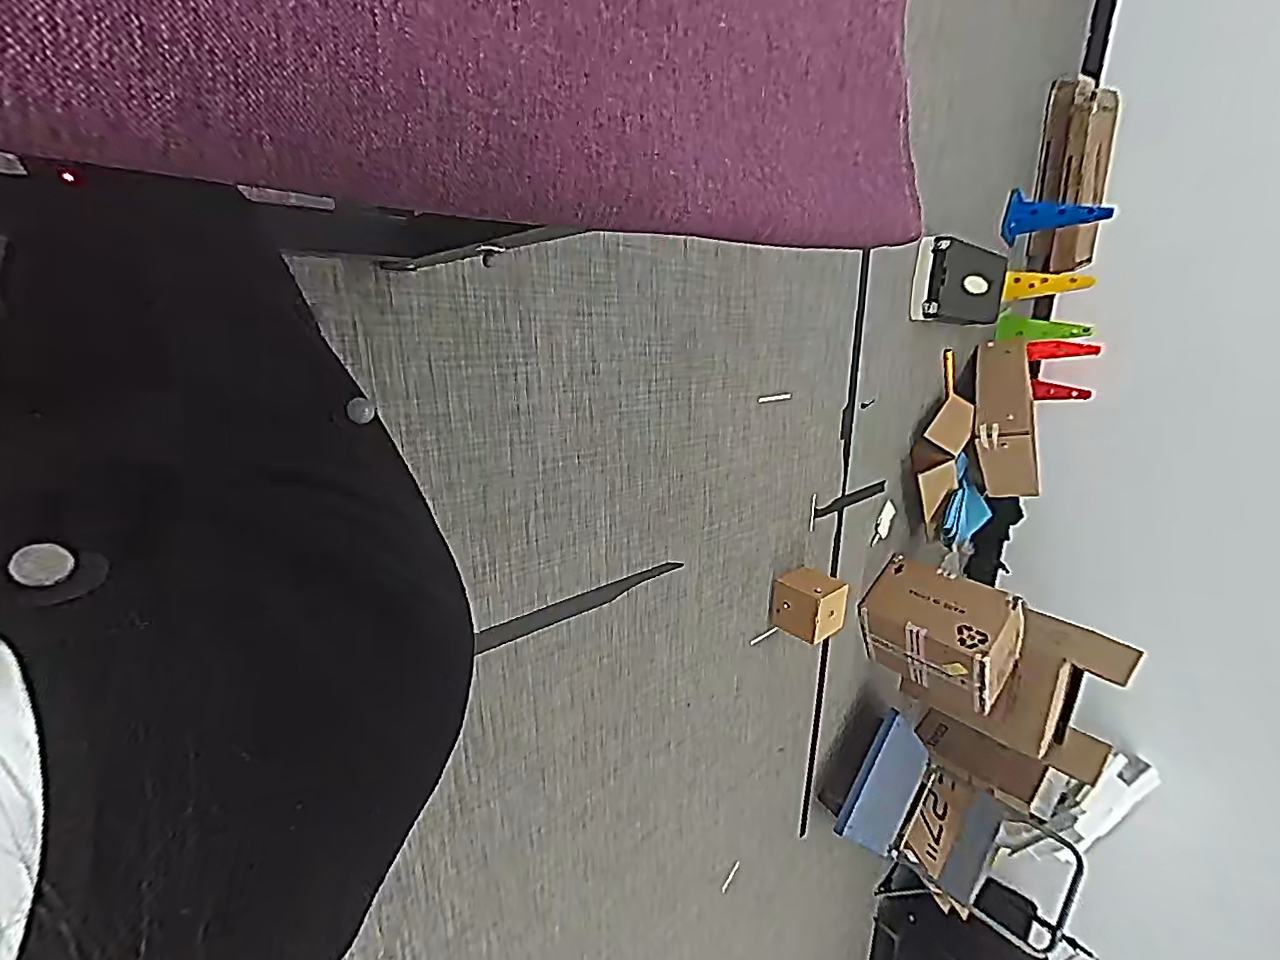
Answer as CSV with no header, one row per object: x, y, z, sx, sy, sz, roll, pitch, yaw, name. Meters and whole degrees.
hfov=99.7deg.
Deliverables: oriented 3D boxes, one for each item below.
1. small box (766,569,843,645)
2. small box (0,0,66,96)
0.545,0.413,1.797,0.179,0.176,0.168,-13,112,-39,small box
-0.545,-0.401,0.373,0.168,0.176,0.179,-16,116,-37,small box
